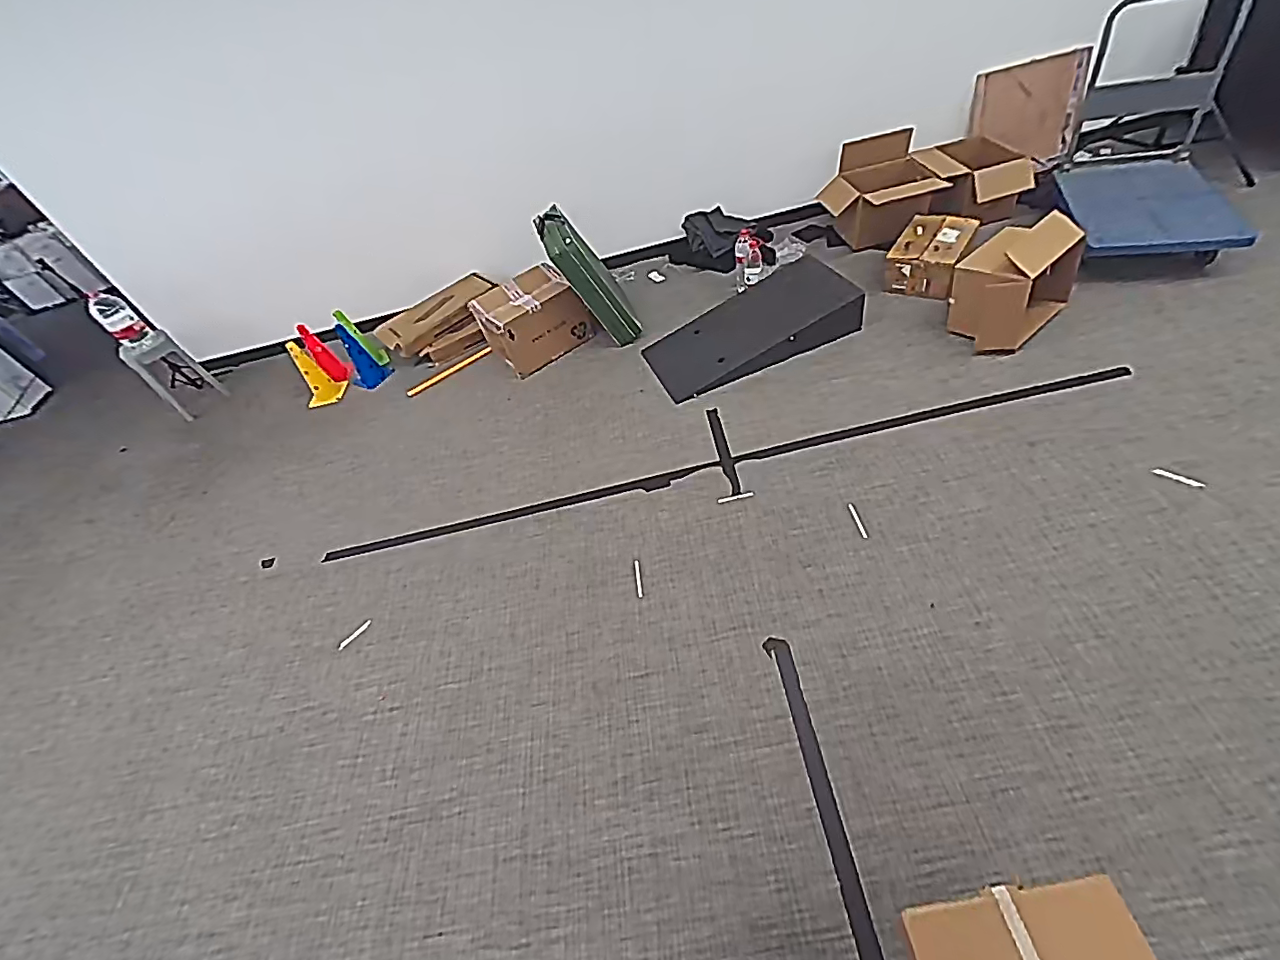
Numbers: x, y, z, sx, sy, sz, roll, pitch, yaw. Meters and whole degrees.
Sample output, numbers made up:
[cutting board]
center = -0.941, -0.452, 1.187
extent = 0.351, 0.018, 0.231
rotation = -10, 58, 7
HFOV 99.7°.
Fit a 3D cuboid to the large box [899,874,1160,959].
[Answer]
[large box]
center = 0.639, 0.877, 0.817
extent = 0.320, 0.320, 0.408
rotation = -18, 48, 9
